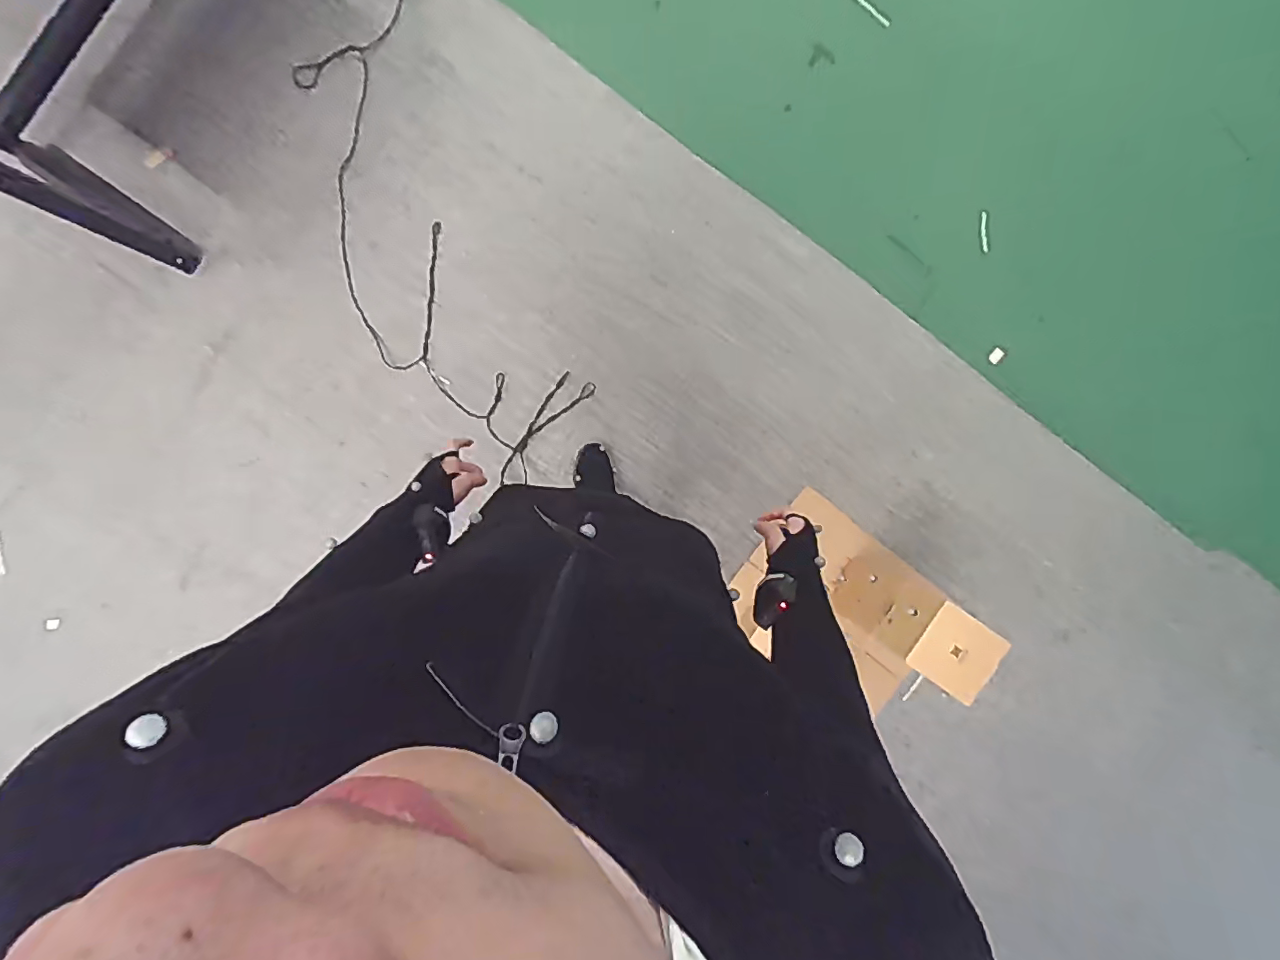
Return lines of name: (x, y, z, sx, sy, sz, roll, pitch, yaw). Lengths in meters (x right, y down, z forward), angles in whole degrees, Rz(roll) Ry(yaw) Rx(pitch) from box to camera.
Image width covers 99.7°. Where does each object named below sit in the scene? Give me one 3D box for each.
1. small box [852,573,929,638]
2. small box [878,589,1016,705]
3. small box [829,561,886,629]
small box: (0.681, 0.354, 1.386, 0.179, 0.176, 0.168, 34, 91, -2)
small box: (0.681, 0.364, 1.224, 0.179, 0.176, 0.168, 34, 91, -2)
small box: (0.679, 0.350, 1.549, 0.179, 0.176, 0.168, 31, 91, -1)
